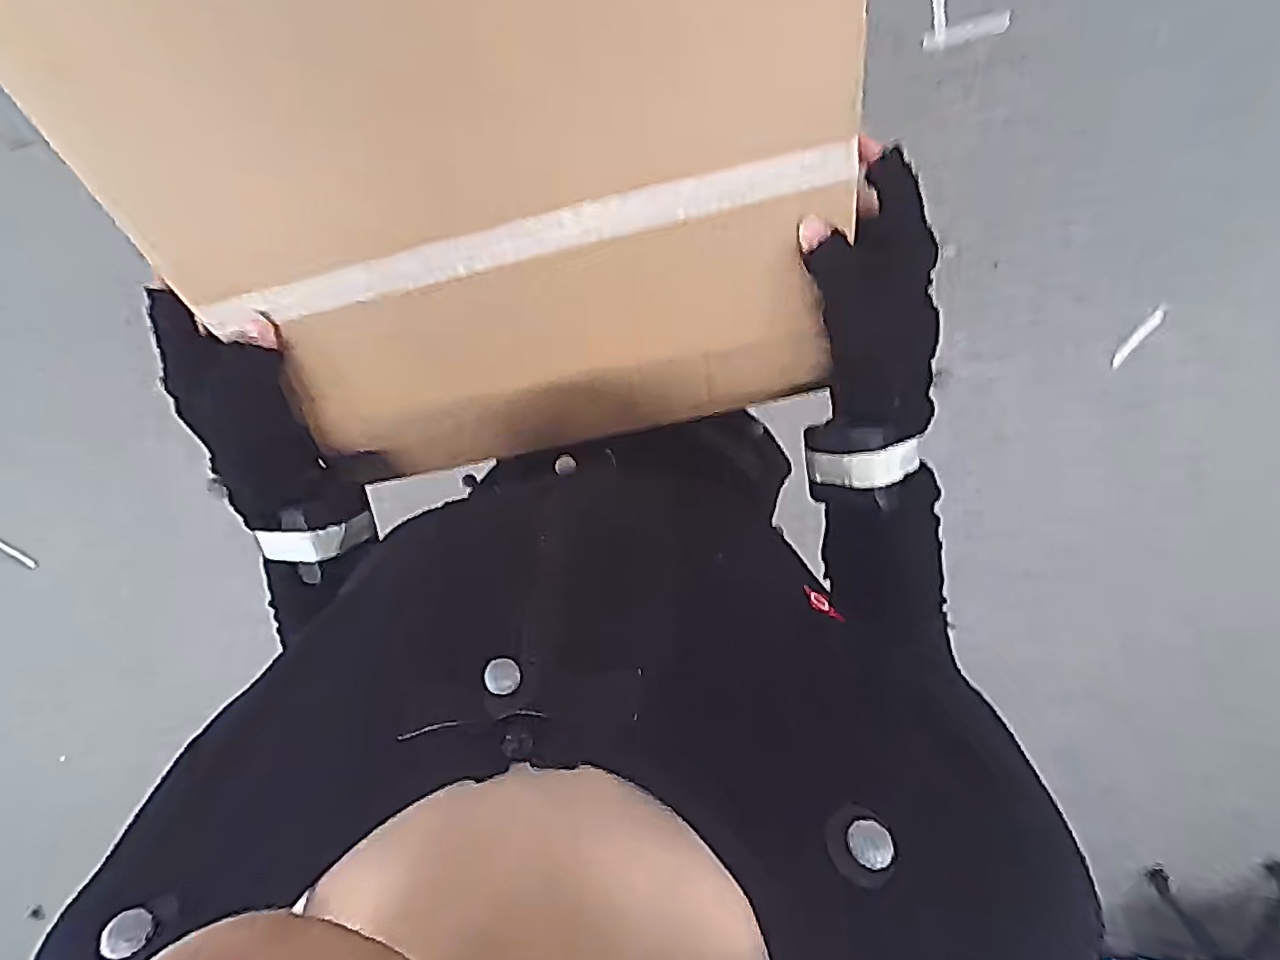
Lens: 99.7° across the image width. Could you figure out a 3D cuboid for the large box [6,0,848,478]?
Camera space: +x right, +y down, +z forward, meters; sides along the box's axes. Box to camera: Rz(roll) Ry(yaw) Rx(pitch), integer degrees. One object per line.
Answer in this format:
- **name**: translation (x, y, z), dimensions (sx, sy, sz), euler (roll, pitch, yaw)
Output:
- **large box**: translation (-0.087, -0.248, 0.440), dimensions (0.408, 0.320, 0.320), euler (-11, 134, 6)
